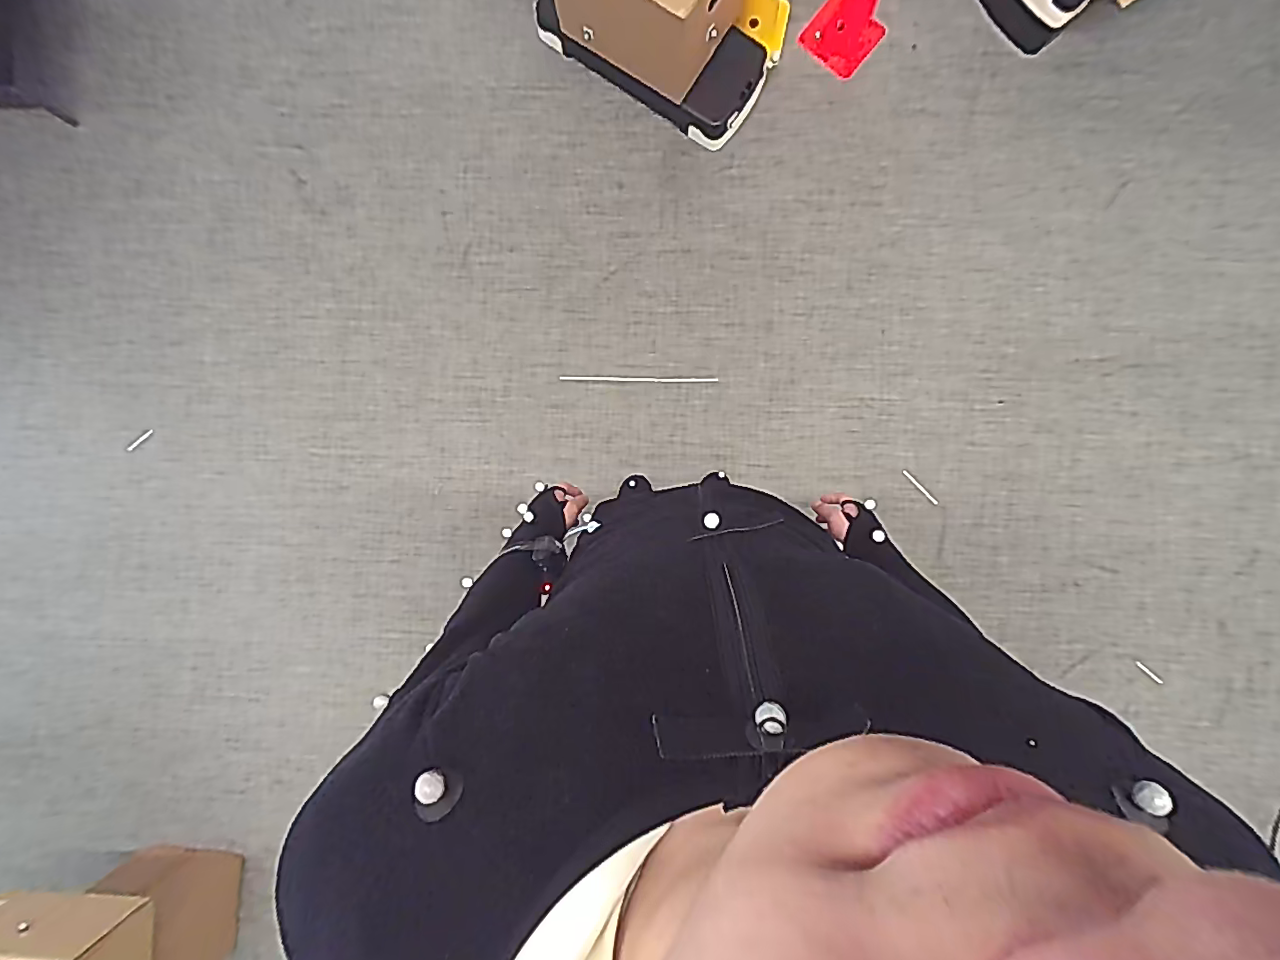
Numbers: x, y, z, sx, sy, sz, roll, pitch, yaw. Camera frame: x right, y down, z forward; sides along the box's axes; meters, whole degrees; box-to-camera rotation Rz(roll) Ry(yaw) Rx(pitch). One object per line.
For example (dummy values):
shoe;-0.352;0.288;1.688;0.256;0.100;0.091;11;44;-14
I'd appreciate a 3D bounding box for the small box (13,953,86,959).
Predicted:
small box;-1.384;1.189;1.184;0.179;0.176;0.168;4;89;1
